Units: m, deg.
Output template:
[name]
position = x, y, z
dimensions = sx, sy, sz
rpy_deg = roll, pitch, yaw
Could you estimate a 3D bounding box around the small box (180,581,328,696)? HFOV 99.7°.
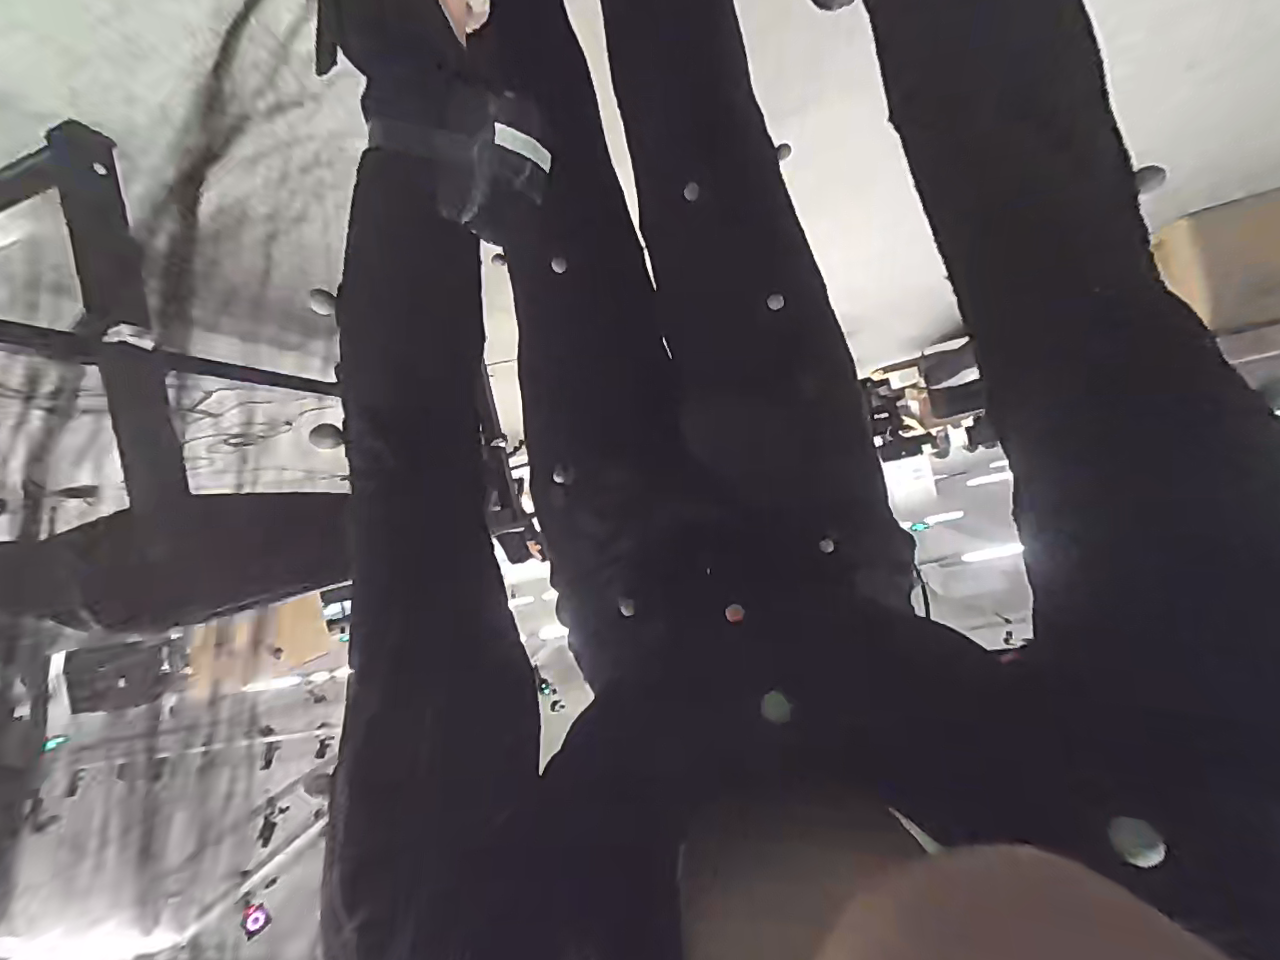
[small box]
position = -0.792, 0.319, 1.114
dimensions = 0.168, 0.176, 0.179
rpy_deg = -13, 179, 14
